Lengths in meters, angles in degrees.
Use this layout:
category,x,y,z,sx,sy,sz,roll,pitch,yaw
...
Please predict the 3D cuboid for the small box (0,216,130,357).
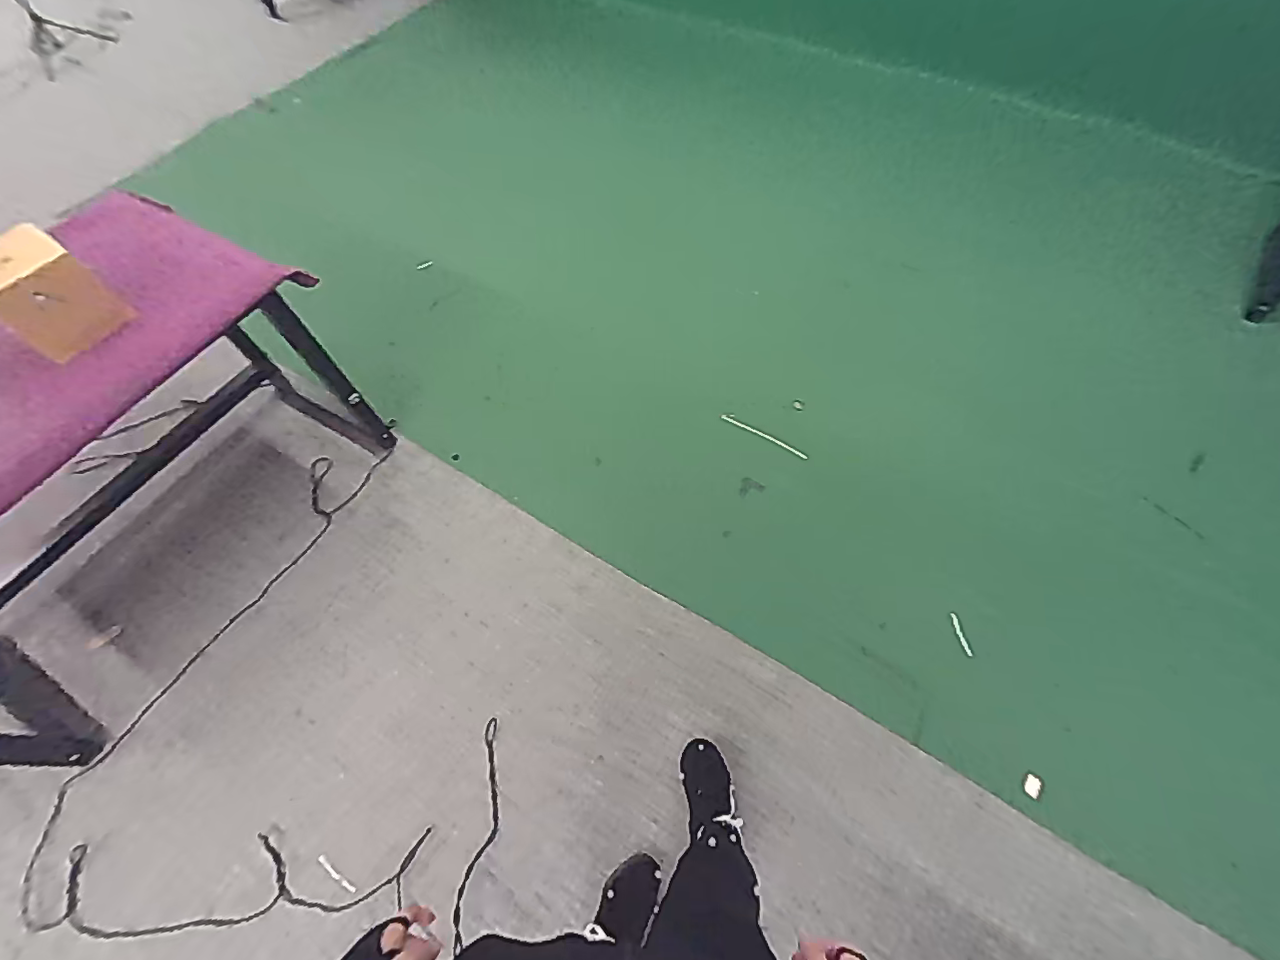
category,x,y,z,sx,sy,sz,roll,pitch,yaw
small box,-1.204,-0.388,1.097,0.168,0.176,0.179,33,68,17
